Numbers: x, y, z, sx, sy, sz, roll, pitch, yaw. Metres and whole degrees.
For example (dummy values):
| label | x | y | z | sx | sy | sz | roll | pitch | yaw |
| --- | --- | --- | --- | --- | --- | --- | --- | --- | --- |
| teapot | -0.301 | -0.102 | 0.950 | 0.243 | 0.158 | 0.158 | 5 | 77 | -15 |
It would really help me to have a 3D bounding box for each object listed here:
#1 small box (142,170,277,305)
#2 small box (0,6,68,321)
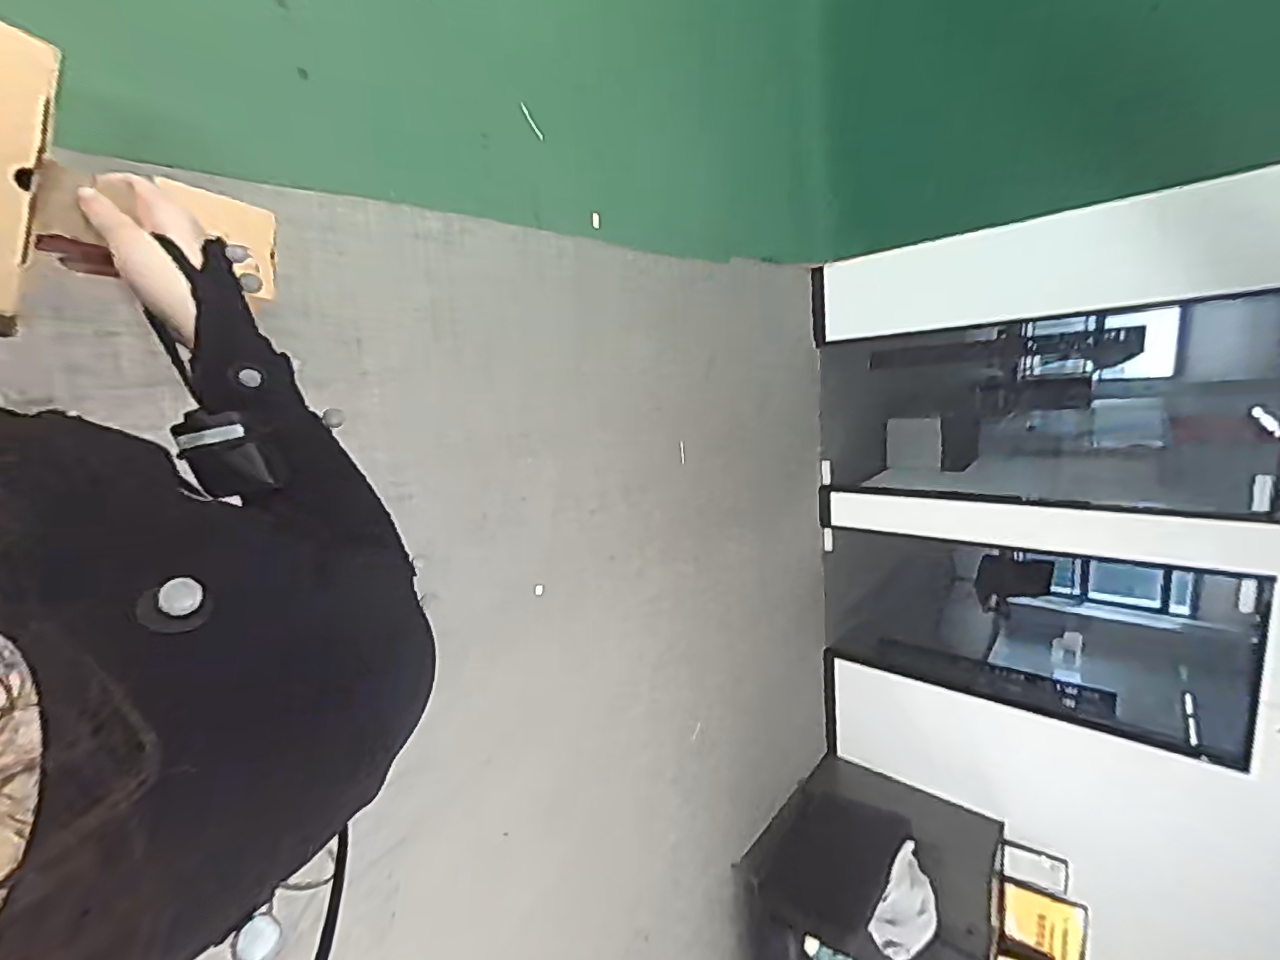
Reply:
| label | x | y | z | sx | sy | sz | roll | pitch | yaw |
| --- | --- | --- | --- | --- | --- | --- | --- | --- | --- |
| small box | -0.797 | -0.431 | 0.999 | 0.179 | 0.176 | 0.168 | 0 | 95 | -48 |
| small box | -0.461 | -0.192 | 0.299 | 0.179 | 0.176 | 0.168 | 8 | 90 | -52 |
